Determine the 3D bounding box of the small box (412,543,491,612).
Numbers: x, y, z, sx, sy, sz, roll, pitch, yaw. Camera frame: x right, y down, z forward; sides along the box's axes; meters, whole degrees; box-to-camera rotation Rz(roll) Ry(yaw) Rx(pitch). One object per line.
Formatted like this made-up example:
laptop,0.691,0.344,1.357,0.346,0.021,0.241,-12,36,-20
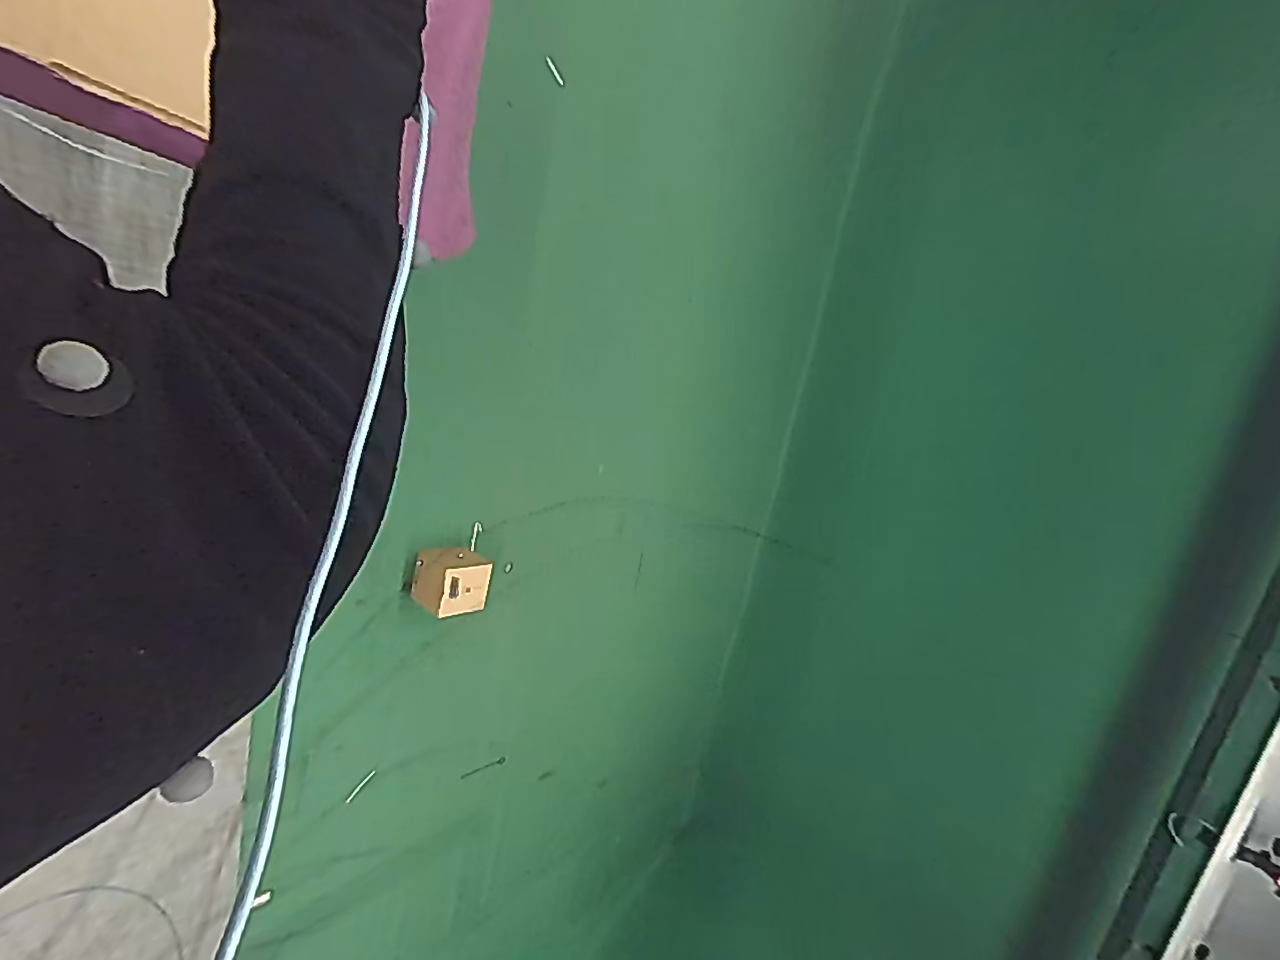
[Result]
small box,-0.626,0.316,1.785,0.179,0.176,0.168,2,105,-54
